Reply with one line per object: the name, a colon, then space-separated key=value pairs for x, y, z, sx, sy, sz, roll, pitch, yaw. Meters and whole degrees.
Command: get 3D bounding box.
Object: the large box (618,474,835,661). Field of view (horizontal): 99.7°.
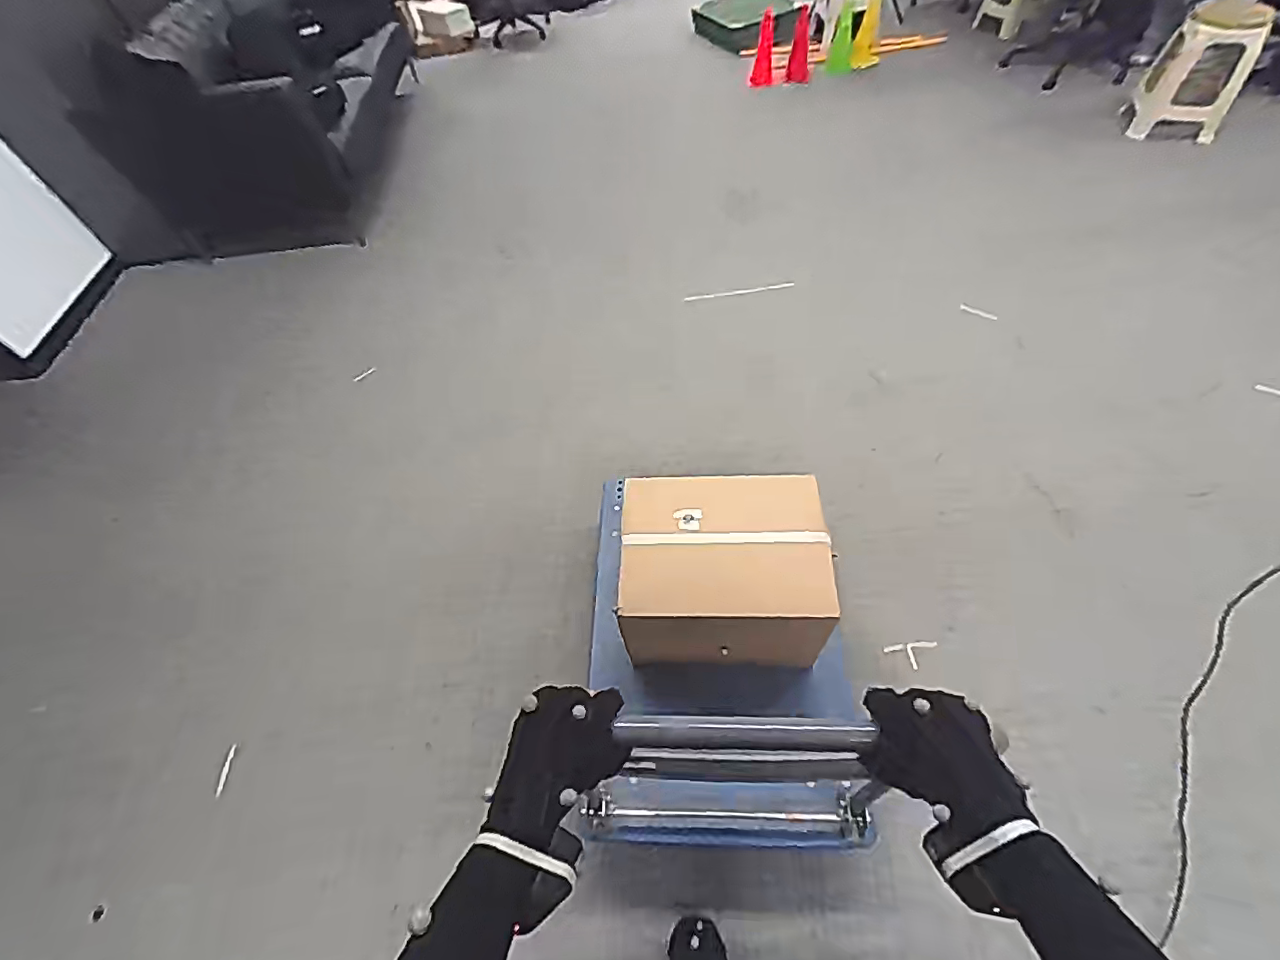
large box: x=0.176 y=0.205 z=1.199 sx=0.408 sy=0.320 sz=0.320 roll=-2 pitch=54 yaw=6
